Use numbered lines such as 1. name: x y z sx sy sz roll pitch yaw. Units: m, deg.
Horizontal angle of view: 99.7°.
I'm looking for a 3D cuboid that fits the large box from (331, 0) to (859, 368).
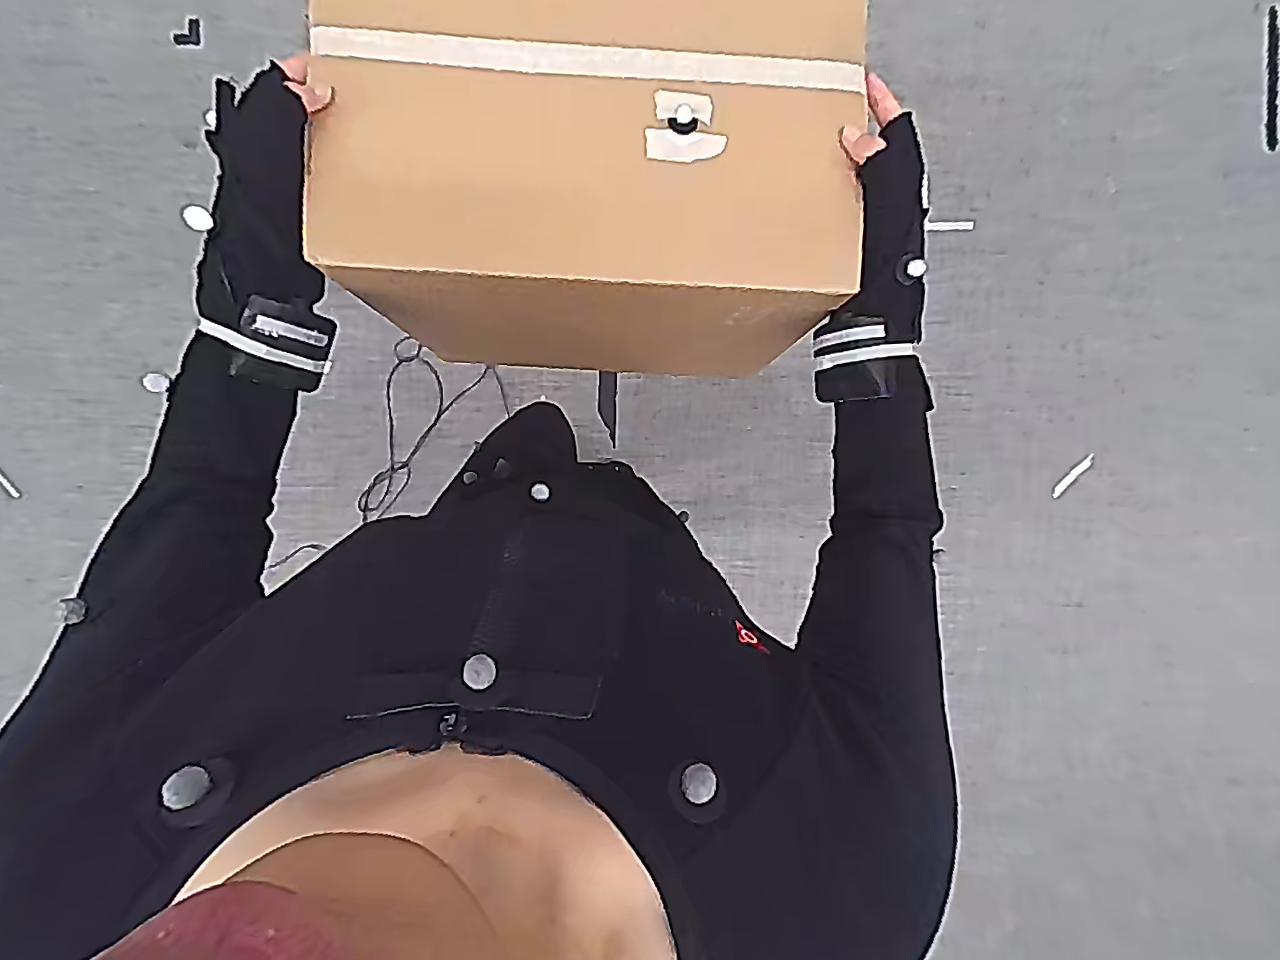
1. large box: -0.037 -0.307 0.563 0.408 0.320 0.320 2 89 -3
